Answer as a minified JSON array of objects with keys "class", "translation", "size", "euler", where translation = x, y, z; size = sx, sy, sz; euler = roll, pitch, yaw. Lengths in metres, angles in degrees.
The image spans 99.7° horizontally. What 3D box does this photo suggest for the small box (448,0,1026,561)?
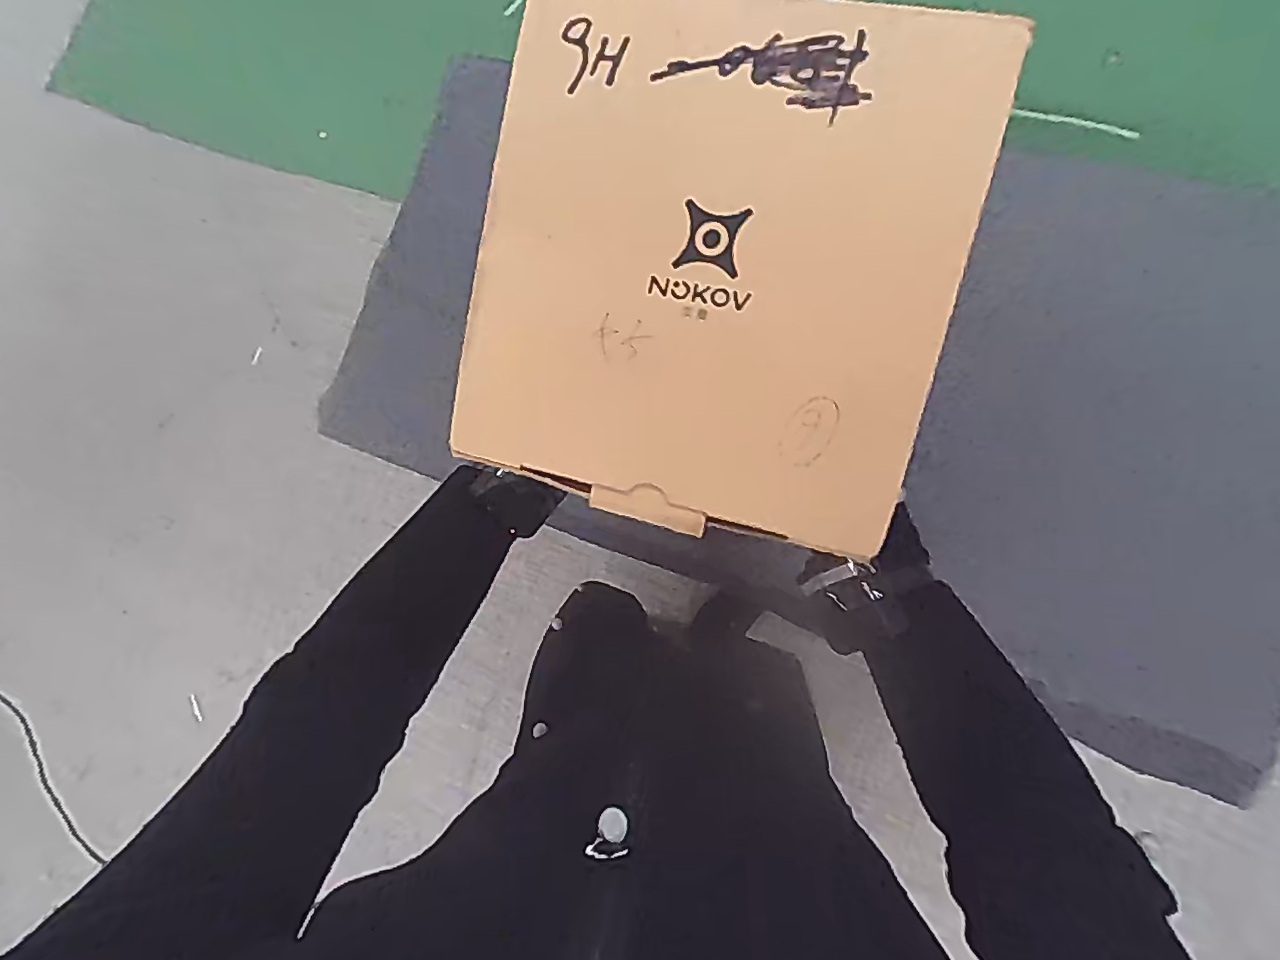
[{"class":"small box","translation":[0.035,-0.083,0.264],"size":[0.168,0.176,0.179],"euler":[14,99,9]}]
